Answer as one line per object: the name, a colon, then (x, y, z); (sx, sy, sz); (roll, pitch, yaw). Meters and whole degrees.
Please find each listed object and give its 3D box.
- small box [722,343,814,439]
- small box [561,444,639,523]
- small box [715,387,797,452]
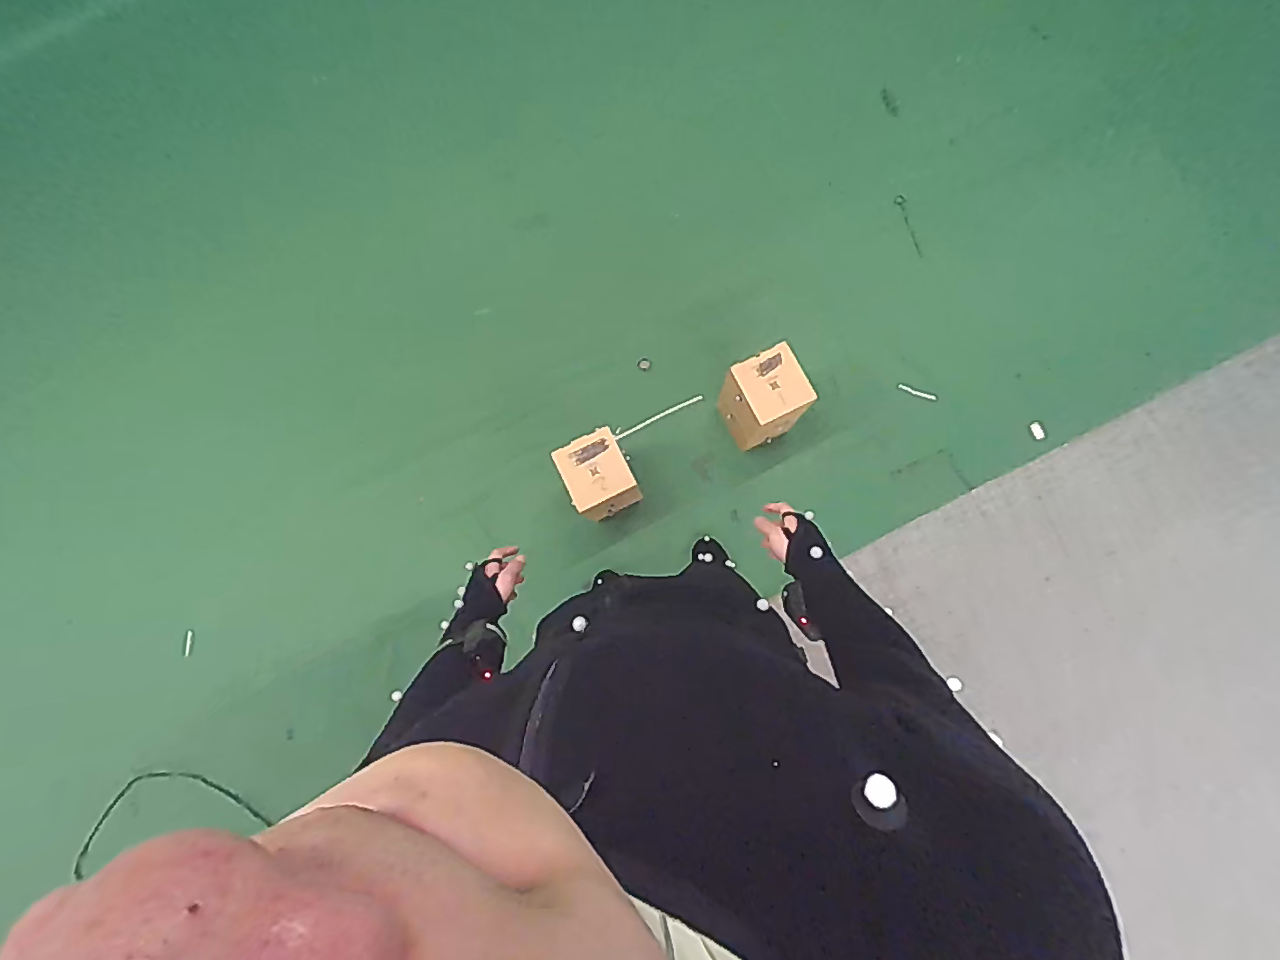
small box: (0.335, -0.233, 1.457); (0.168, 0.176, 0.179); (-26, 82, -3)
small box: (-0.112, 0.017, 1.598); (0.168, 0.176, 0.179); (-27, 80, -2)
small box: (0.337, -0.206, 1.618); (0.168, 0.176, 0.179); (-26, 81, -3)
